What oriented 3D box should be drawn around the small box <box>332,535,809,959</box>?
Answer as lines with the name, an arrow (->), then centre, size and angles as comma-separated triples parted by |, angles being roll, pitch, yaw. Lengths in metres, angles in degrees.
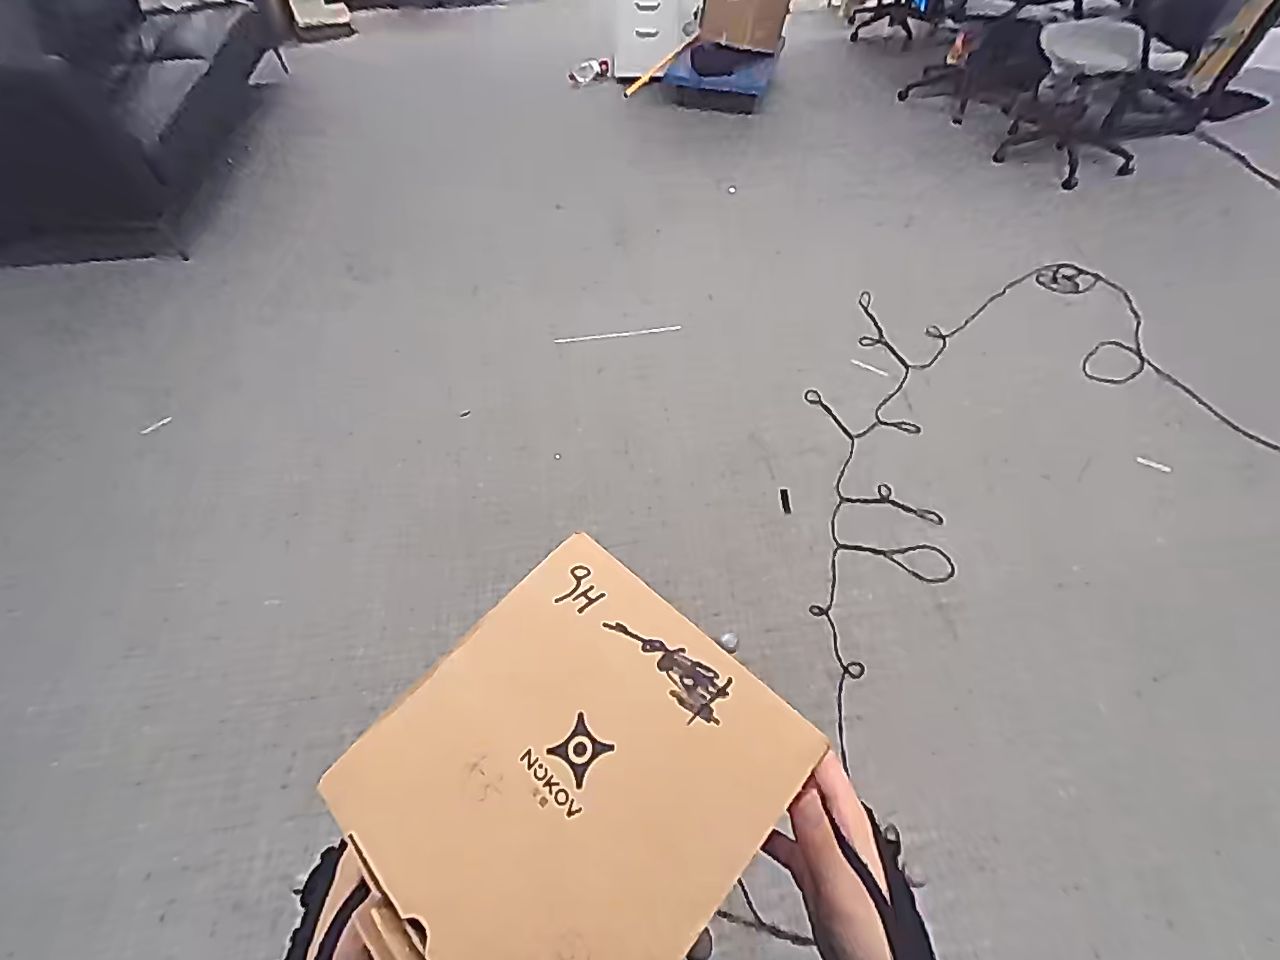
small box -> -0.025, 0.172, 0.322 | 0.168, 0.176, 0.179 | 36, 70, 25
